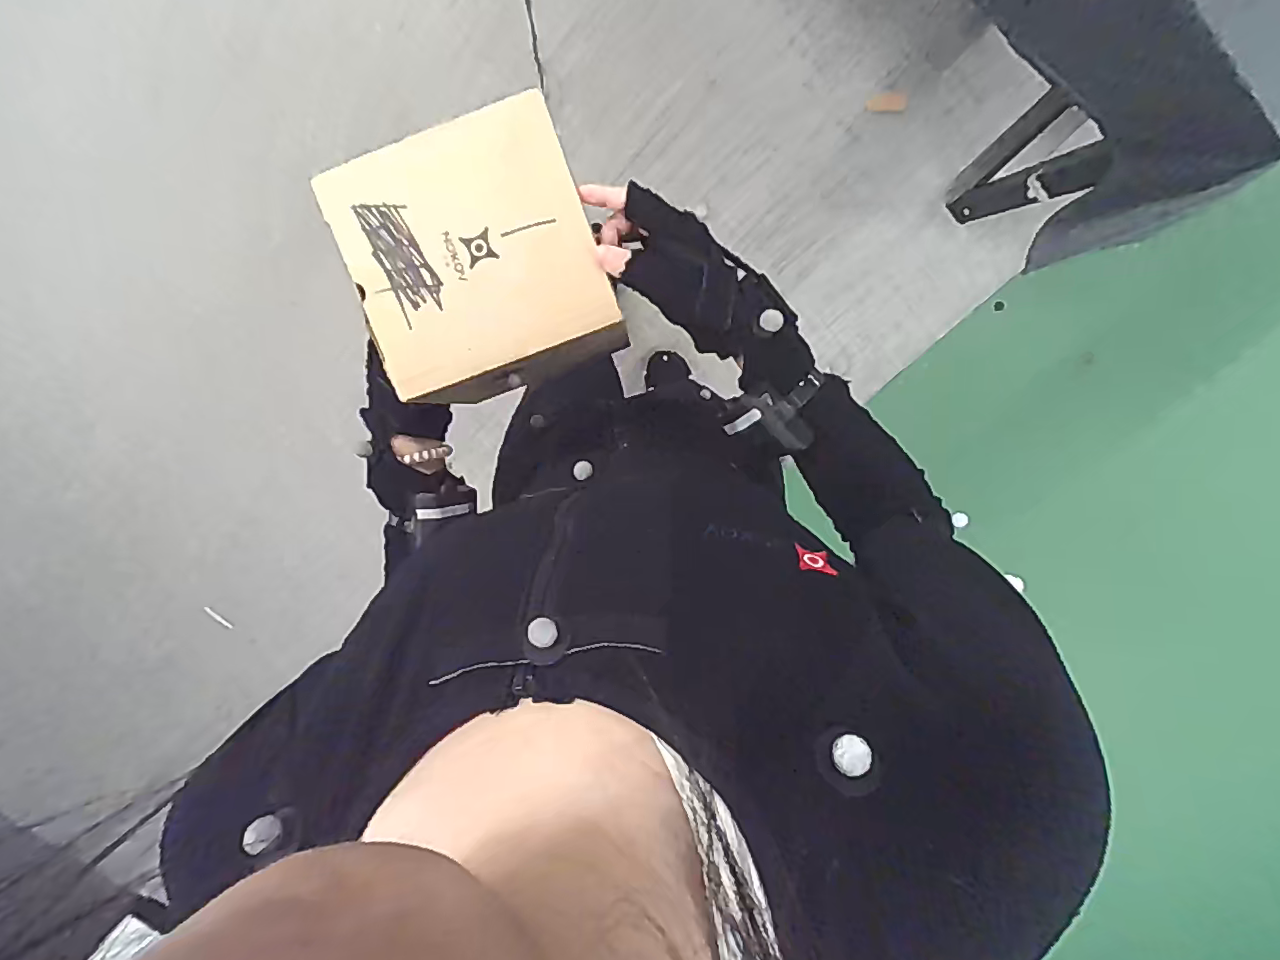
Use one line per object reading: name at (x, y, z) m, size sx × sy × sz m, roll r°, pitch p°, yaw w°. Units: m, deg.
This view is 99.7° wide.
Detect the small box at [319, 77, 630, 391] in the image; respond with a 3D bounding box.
small box at (-0.116, -0.180, 0.460) m, size 0.179 × 0.176 × 0.168 m, roll -20°, pitch 97°, yaw 3°
